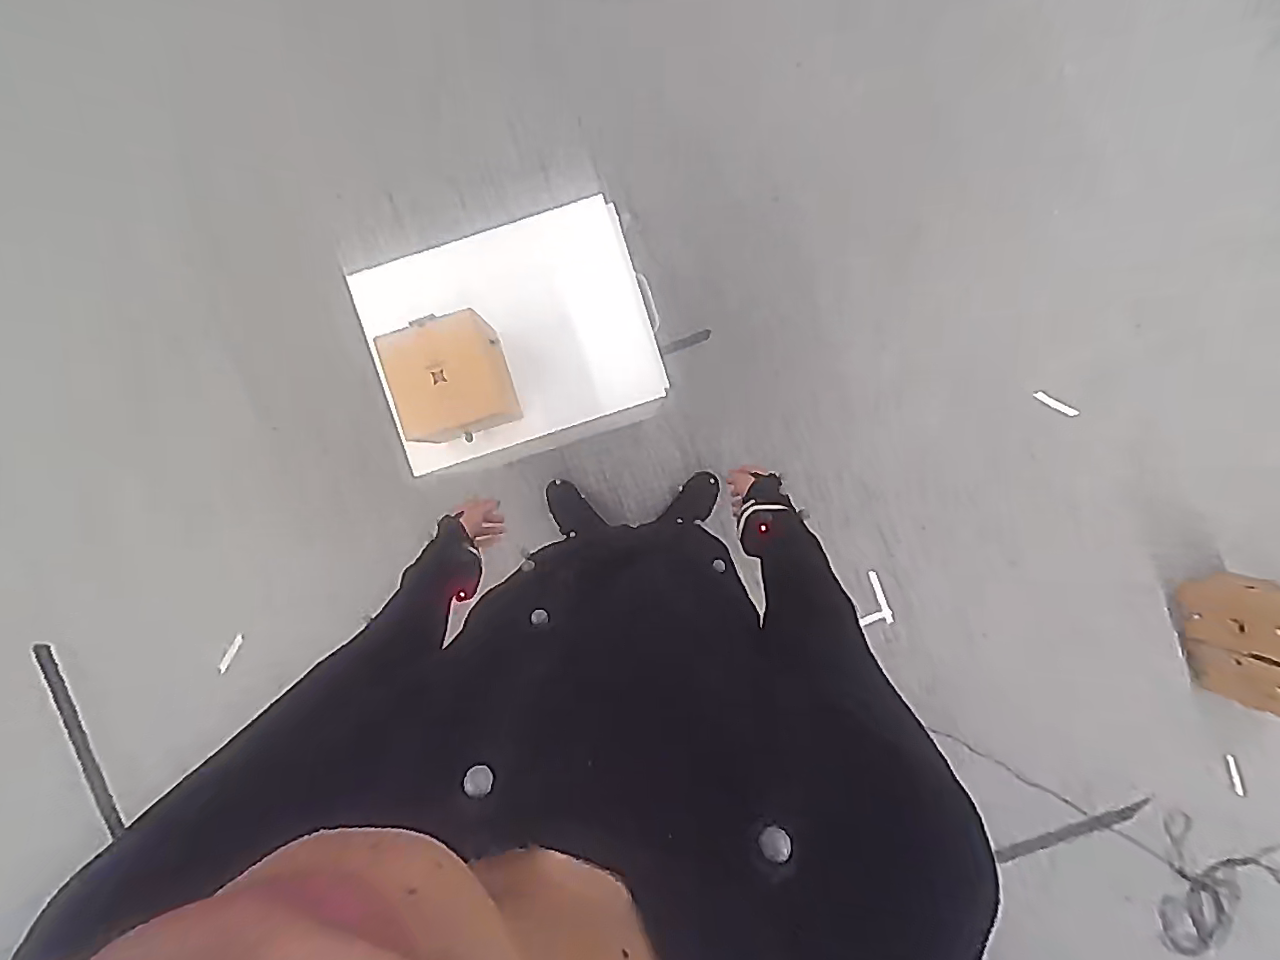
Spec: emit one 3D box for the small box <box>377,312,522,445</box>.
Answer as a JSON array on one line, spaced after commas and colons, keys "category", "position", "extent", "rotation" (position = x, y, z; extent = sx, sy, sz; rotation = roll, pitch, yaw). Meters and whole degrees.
[{"category": "small box", "position": [-0.319, -0.166, 0.940], "extent": [0.168, 0.176, 0.179], "rotation": [-17, 92, 0]}]
